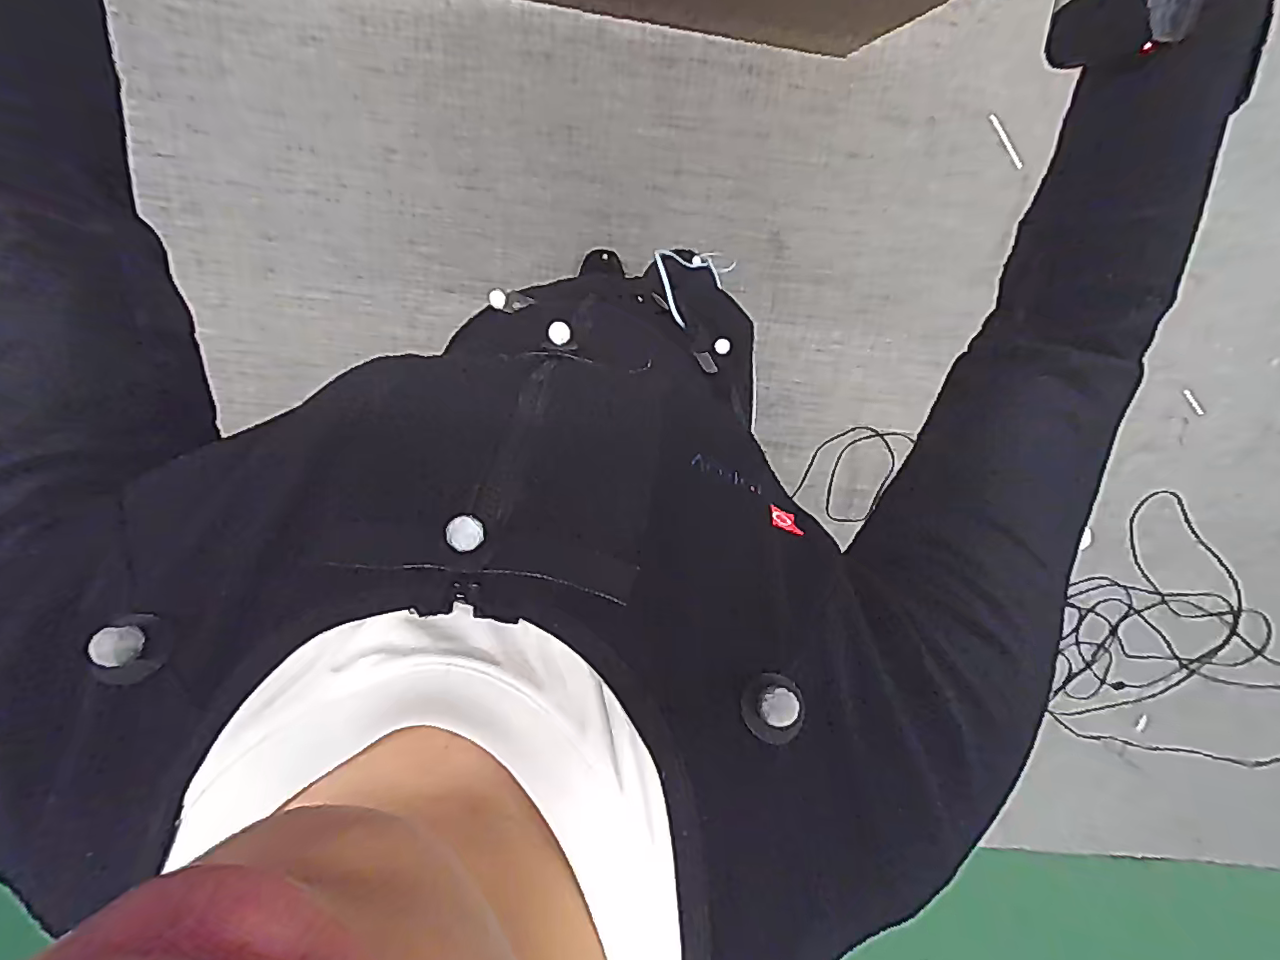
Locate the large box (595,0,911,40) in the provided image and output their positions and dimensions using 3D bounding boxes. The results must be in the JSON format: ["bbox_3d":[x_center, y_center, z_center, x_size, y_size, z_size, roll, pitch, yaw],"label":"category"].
[{"bbox_3d":[0.020,-0.487,0.291,0.408,0.320,0.320,6,121,-5],"label":"large box"}]
